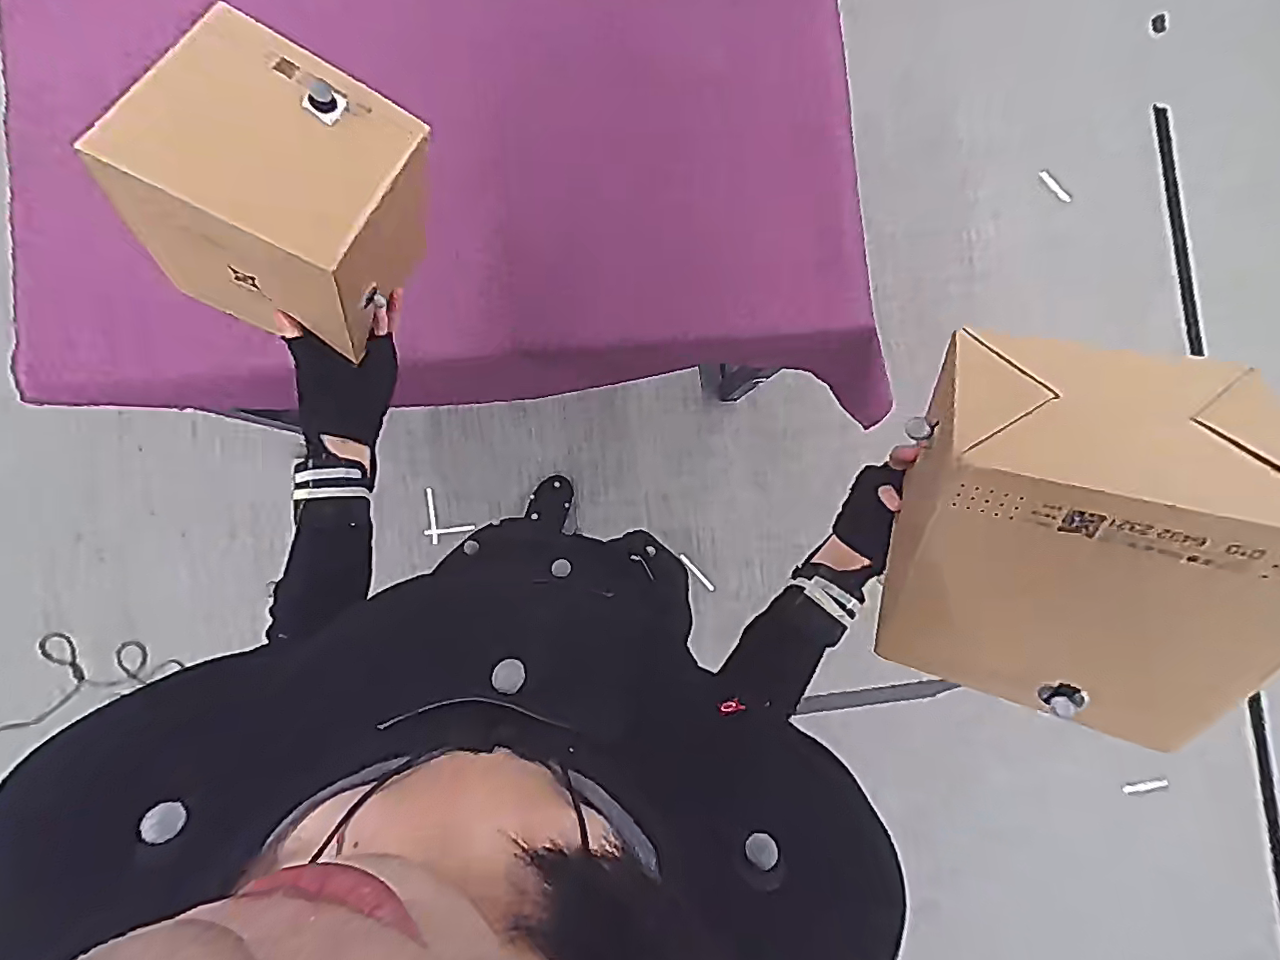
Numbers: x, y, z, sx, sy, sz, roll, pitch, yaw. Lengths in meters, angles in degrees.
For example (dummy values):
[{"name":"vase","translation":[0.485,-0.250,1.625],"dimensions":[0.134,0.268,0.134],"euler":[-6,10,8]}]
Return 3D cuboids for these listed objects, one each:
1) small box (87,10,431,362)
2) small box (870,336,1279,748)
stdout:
[{"name":"small box","translation":[-0.299,-0.243,0.480],"dimensions":[0.168,0.179,0.176],"euler":[23,68,-13]},{"name":"small box","translation":[0.258,0.019,0.337],"dimensions":[0.168,0.176,0.179],"euler":[15,41,22]}]
